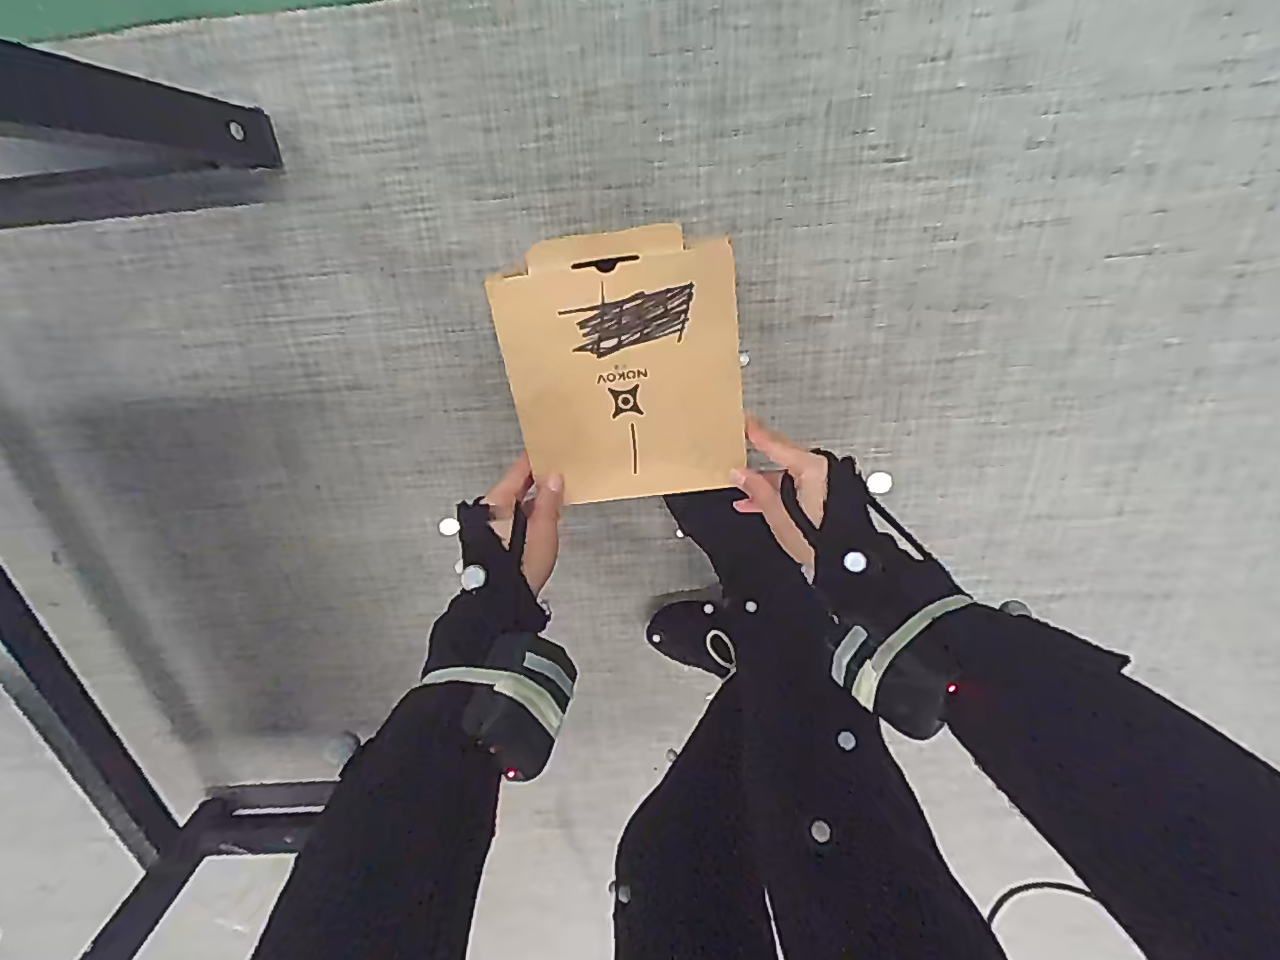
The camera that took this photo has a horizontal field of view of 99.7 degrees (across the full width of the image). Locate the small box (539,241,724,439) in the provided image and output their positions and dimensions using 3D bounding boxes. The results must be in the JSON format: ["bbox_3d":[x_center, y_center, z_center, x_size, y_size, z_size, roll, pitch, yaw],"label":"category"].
[{"bbox_3d":[-0.002,-0.162,0.603,0.168,0.176,0.179,-6,115,6],"label":"small box"}]
